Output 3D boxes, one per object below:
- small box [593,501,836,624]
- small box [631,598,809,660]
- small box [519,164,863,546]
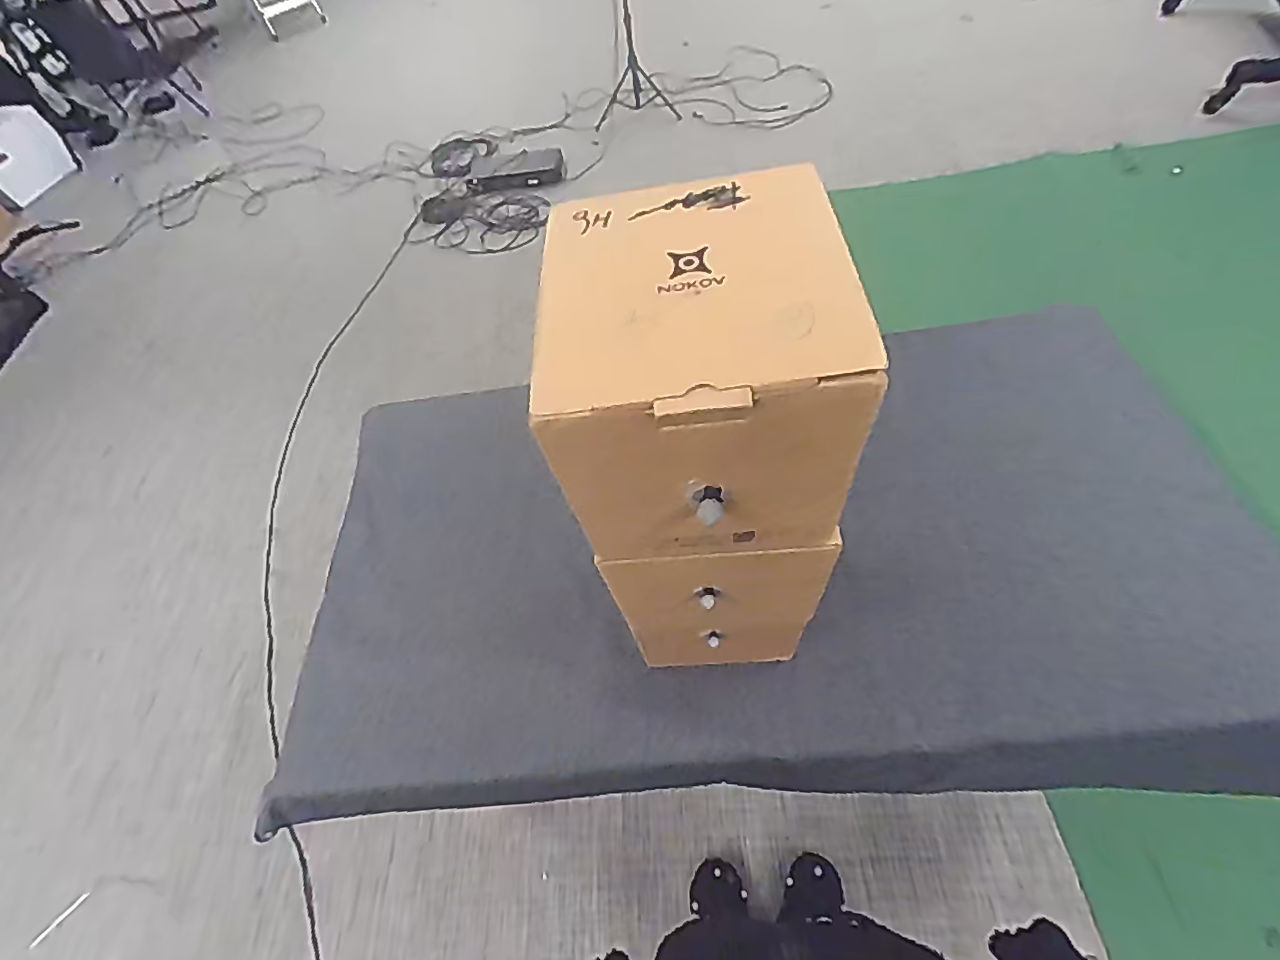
[{"bbox_3d":[0.063,0.024,0.492,0.179,0.176,0.168,-6,58,8],"label":"small box"},{"bbox_3d":[0.087,0.106,0.632,0.179,0.176,0.168,-6,58,6],"label":"small box"},{"bbox_3d":[0.032,-0.065,0.358,0.168,0.176,0.179,-7,59,7],"label":"small box"}]
